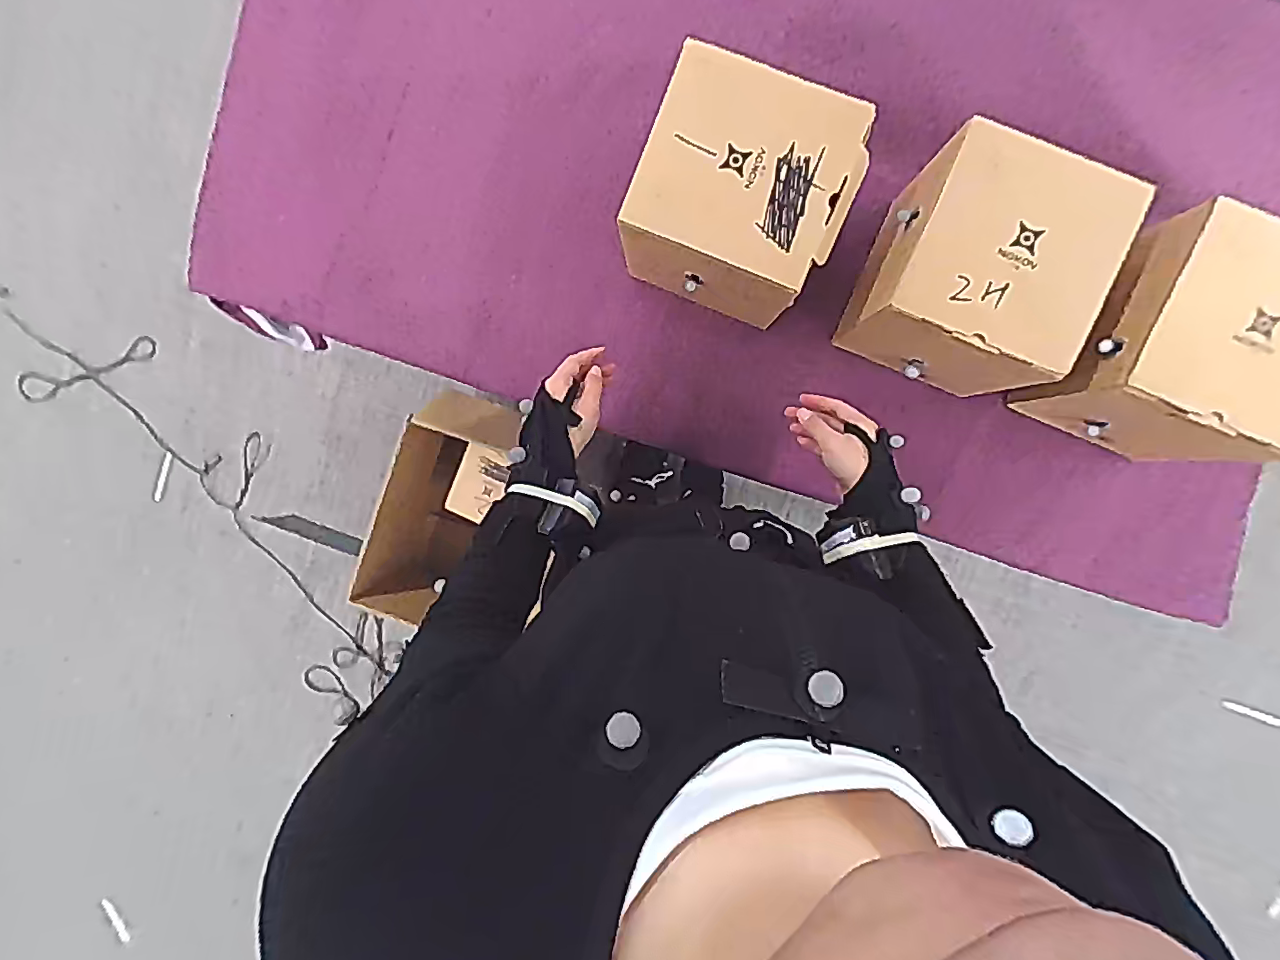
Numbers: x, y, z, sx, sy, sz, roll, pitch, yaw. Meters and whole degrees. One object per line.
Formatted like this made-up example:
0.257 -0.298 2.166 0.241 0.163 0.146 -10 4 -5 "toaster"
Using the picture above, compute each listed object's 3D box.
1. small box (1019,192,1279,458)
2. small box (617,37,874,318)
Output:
0.525 -0.133 0.530 0.168 0.176 0.179 23 95 2 "small box"
0.095 -0.278 0.546 0.179 0.176 0.168 23 96 3 "small box"
